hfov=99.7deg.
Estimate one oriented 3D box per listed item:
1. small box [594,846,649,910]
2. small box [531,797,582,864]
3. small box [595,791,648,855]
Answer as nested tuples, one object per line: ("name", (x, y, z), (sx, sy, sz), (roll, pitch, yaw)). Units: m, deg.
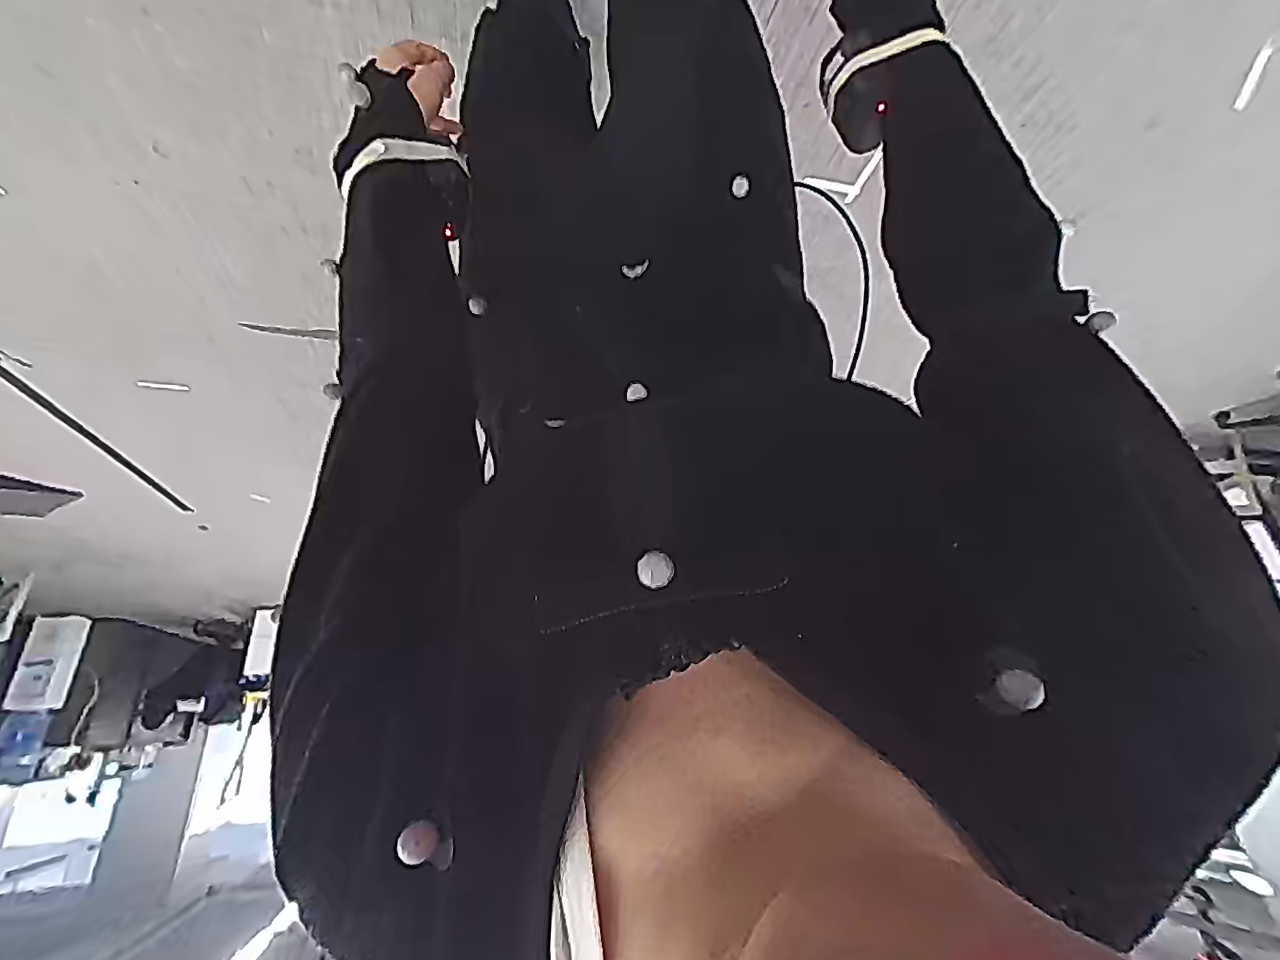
("small box", (-0.074, 1.460, 2.012), (0.168, 0.176, 0.179), (3, 157, -18))
("small box", (-0.316, 1.306, 2.027), (0.168, 0.176, 0.179), (4, 159, -18))
("small box", (-0.077, 1.308, 2.072), (0.168, 0.176, 0.179), (4, 158, -15))
